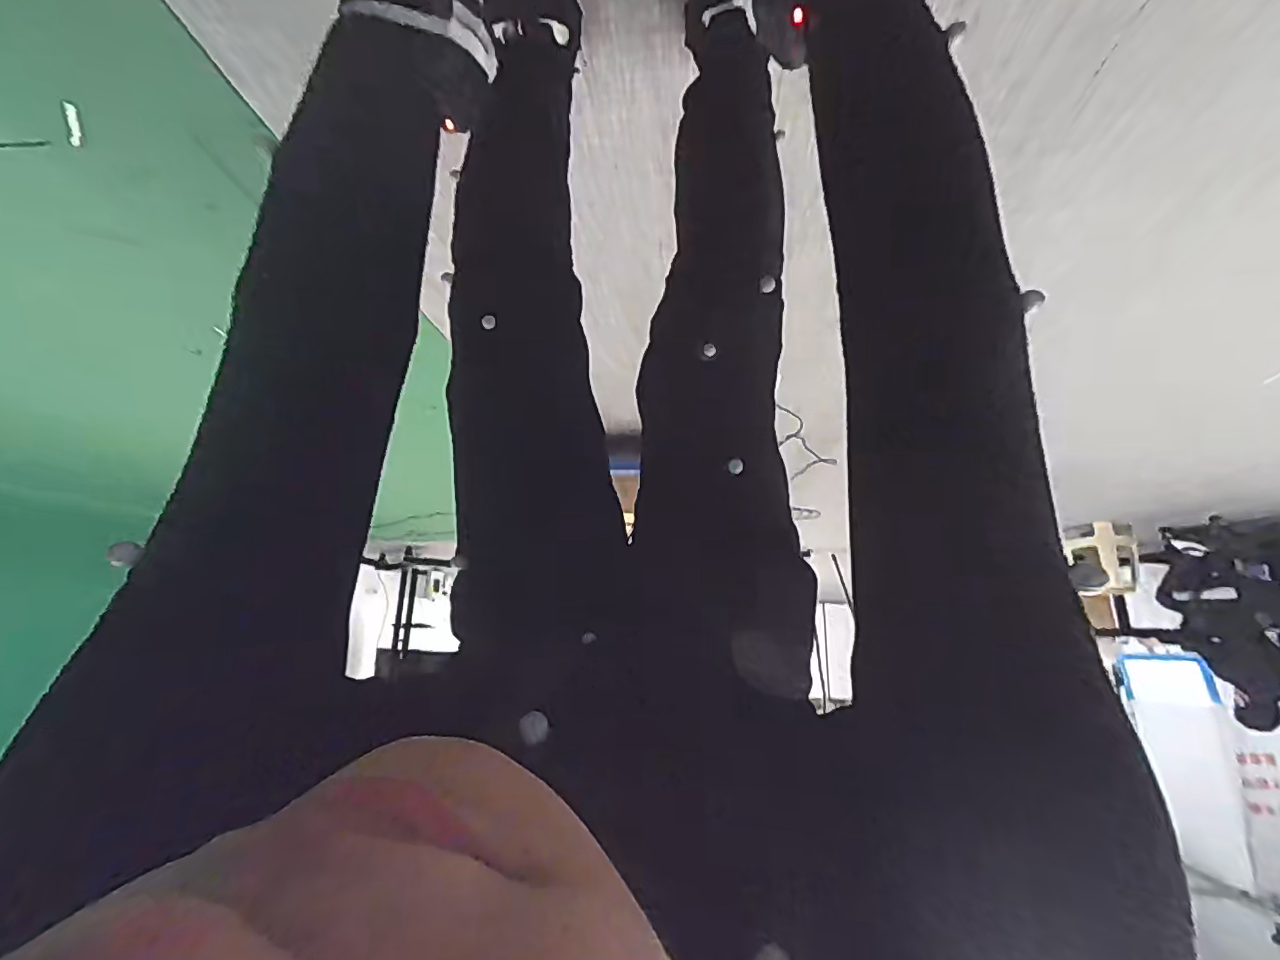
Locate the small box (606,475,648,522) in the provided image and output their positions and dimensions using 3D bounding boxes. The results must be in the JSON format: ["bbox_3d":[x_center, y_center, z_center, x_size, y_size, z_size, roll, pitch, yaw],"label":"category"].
[{"bbox_3d":[-0.052,0.079,2.288,0.168,0.176,0.179,0,163,4],"label":"small box"}]
